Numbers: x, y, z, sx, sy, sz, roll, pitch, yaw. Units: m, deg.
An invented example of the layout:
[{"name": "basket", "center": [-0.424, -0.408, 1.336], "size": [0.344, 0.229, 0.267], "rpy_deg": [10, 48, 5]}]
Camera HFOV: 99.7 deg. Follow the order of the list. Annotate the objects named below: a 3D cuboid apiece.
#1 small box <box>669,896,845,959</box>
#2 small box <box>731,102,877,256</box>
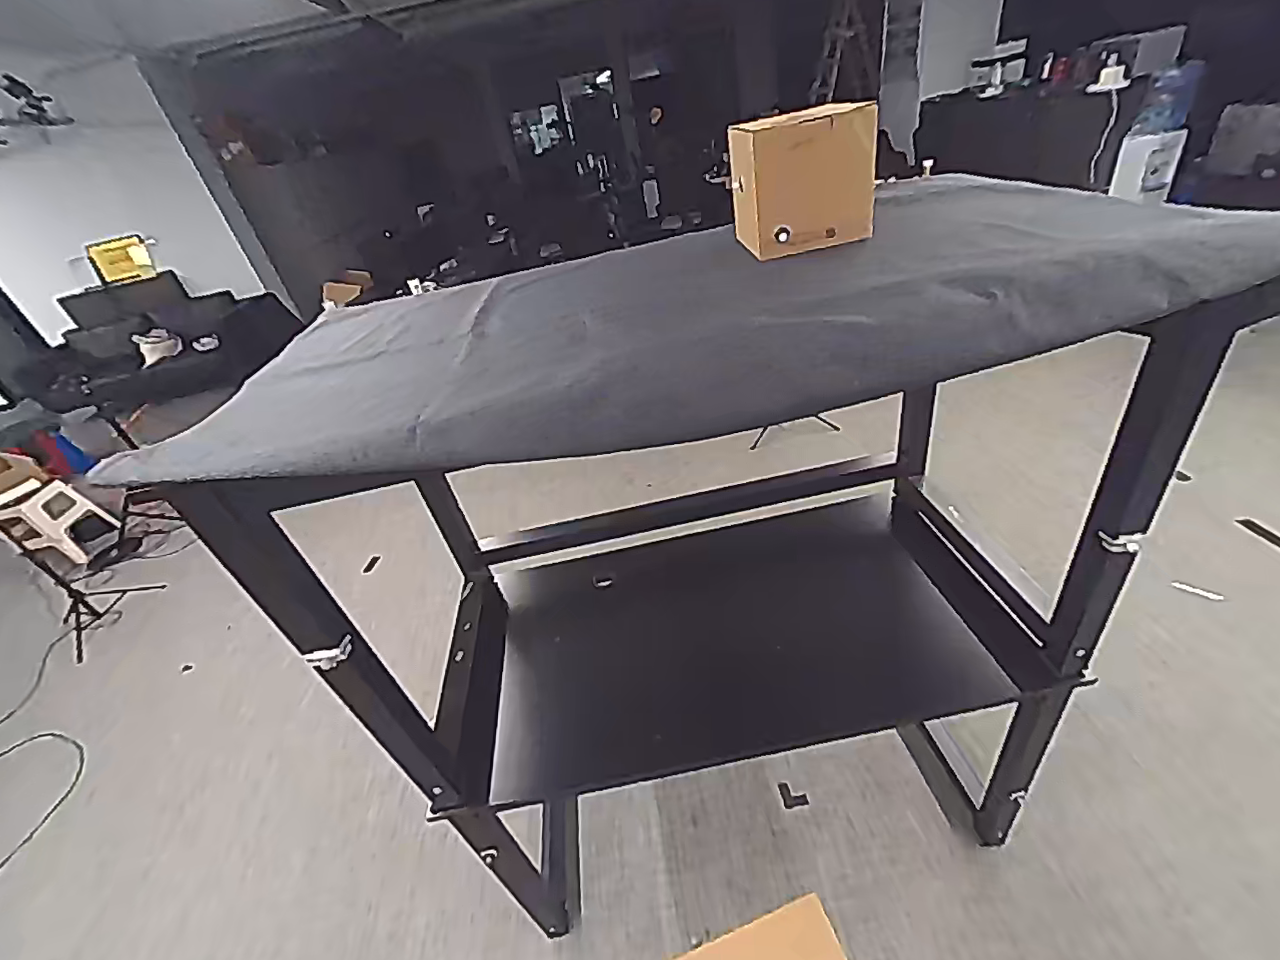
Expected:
[{"name": "small box", "center": [0.138, 0.548, 0.531], "size": [0.179, 0.176, 0.168], "rpy_deg": [-25, 43, -2]}, {"name": "small box", "center": [0.240, -0.450, 0.815], "size": [0.168, 0.176, 0.179], "rpy_deg": [-10, 34, 3]}]
